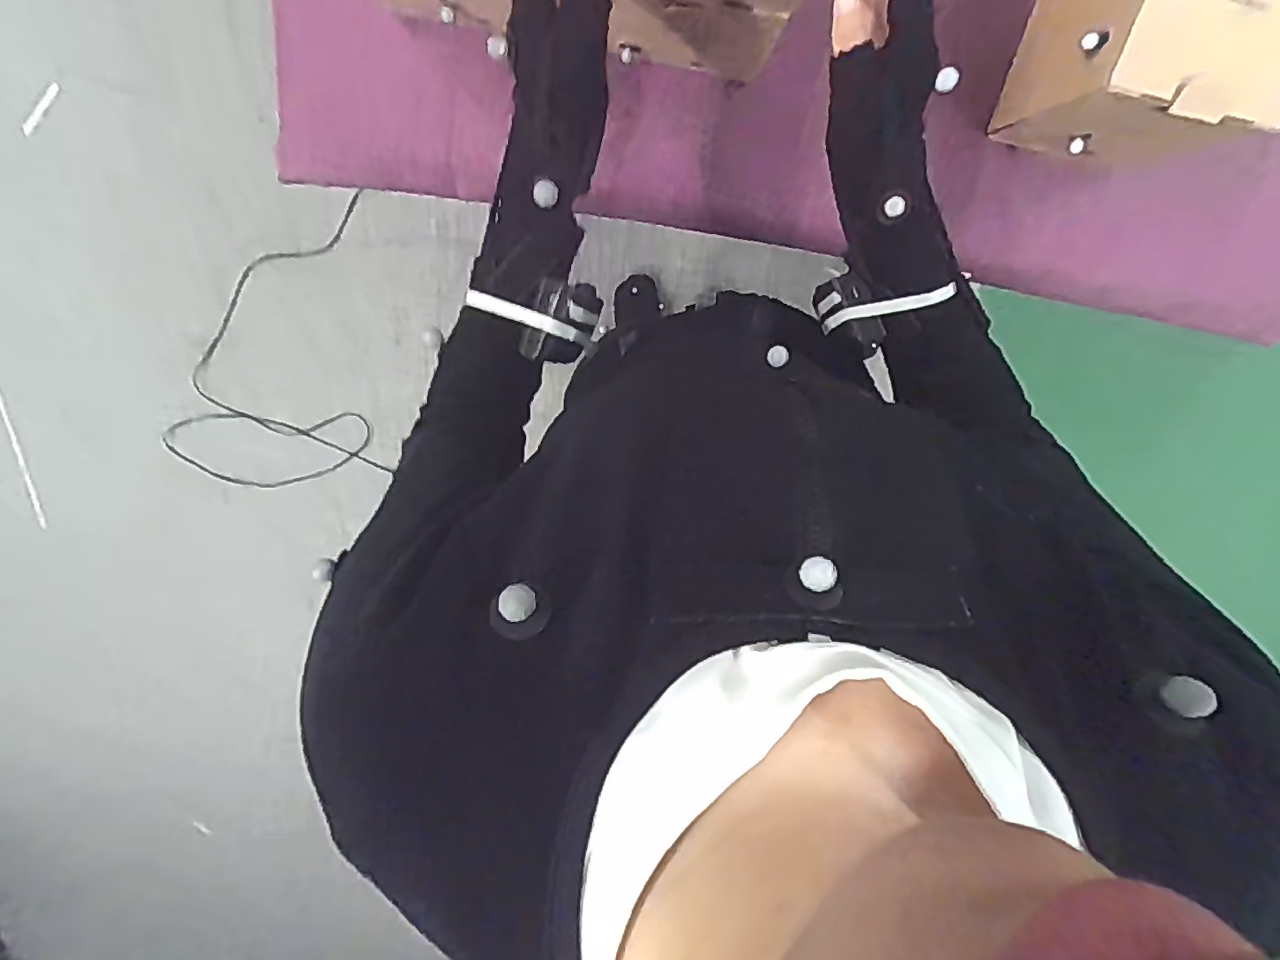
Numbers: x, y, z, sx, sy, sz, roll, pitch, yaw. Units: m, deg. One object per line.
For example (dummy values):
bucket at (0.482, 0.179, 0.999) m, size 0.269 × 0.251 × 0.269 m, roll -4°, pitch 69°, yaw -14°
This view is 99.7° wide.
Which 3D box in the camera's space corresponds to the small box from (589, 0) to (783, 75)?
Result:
small box at (0.049, -0.490, 0.469) m, size 0.168 × 0.176 × 0.179 m, roll 9°, pitch 111°, yaw -4°

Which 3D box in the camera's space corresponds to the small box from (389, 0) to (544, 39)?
small box at (-0.169, -0.521, 0.455) m, size 0.168 × 0.176 × 0.179 m, roll 8°, pitch 112°, yaw -3°

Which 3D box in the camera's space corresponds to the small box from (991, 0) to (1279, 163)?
small box at (0.470, -0.417, 0.495) m, size 0.168 × 0.176 × 0.179 m, roll 10°, pitch 111°, yaw -4°
